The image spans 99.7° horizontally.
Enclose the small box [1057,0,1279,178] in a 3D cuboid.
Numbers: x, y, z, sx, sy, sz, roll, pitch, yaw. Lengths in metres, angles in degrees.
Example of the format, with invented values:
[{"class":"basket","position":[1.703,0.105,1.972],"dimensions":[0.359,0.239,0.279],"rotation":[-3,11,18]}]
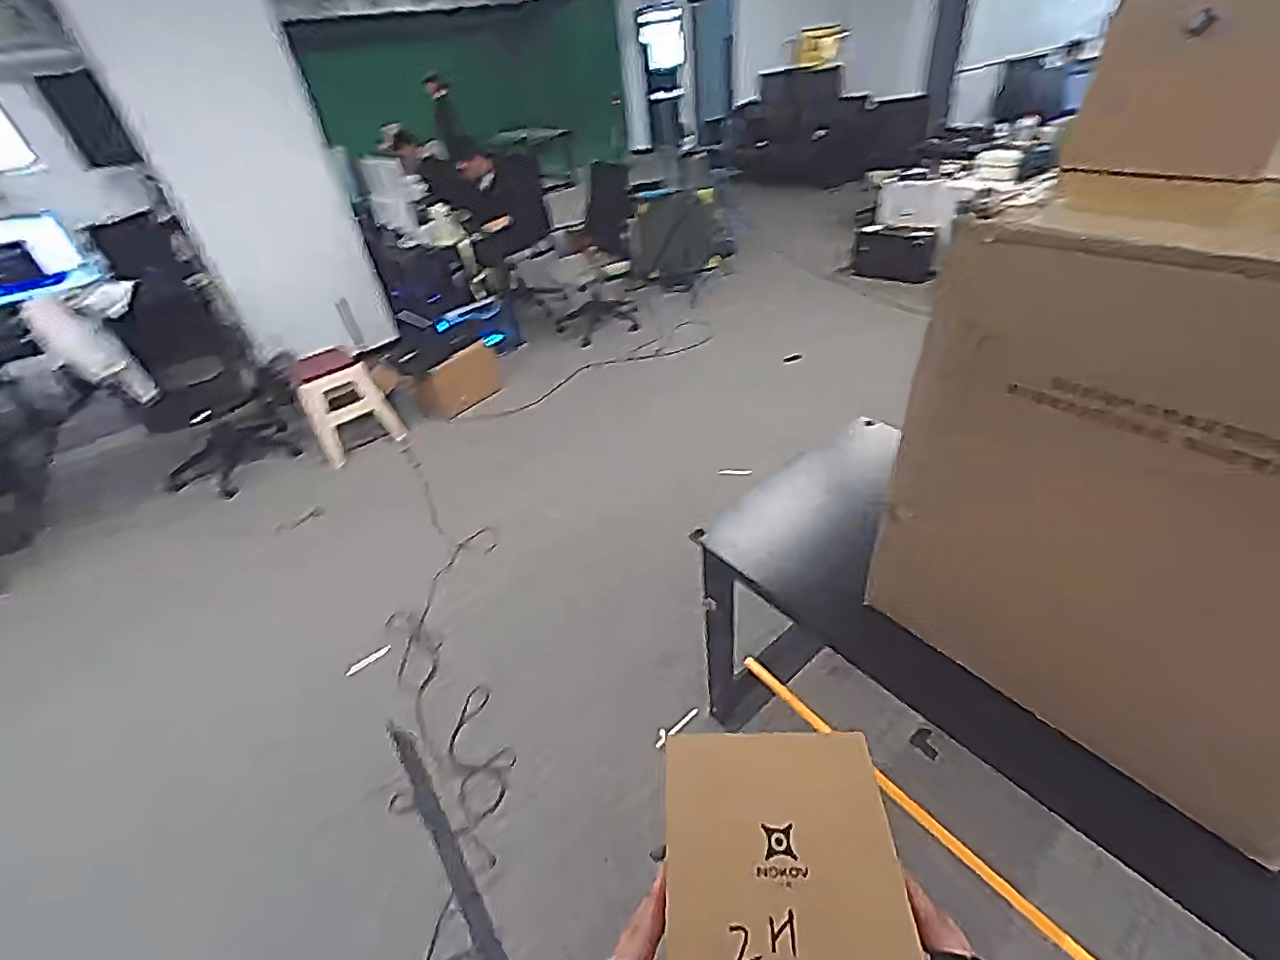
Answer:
[{"class":"small box","position":[0.577,-0.416,0.551],"dimensions":[0.168,0.176,0.179],"rotation":[-29,44,-27]}]

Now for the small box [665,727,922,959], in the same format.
[{"class":"small box","position":[0.108,0.326,0.443],"dimensions":[0.168,0.176,0.179],"rotation":[-3,42,6]}]
